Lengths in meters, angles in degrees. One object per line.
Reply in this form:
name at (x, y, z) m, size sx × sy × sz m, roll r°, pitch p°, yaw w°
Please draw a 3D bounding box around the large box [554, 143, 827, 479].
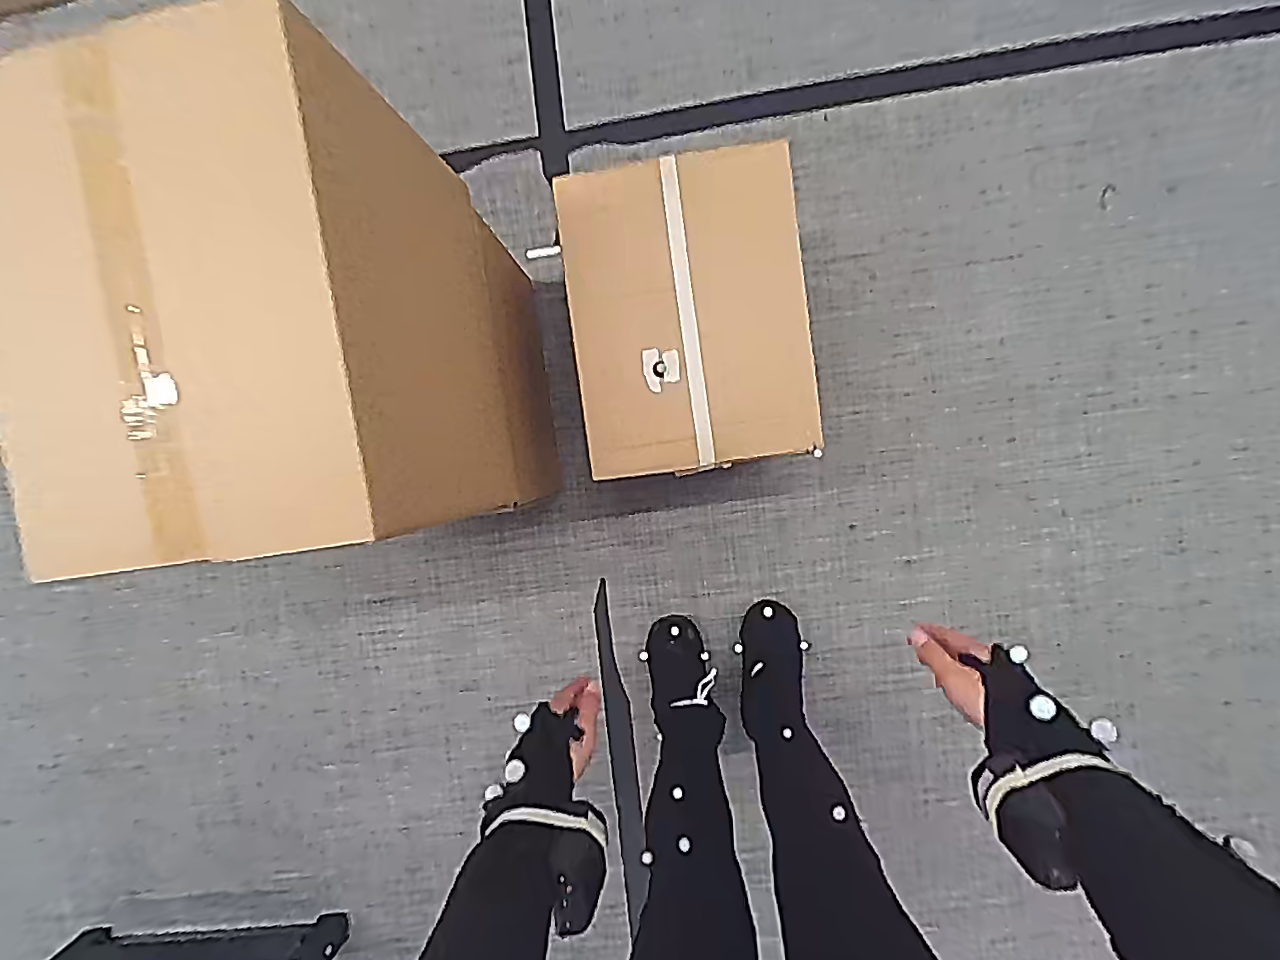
large box at (0.073, -0.229, 0.863) m, size 0.320 × 0.320 × 0.408 m, roll -8°, pitch 93°, yaw 4°
